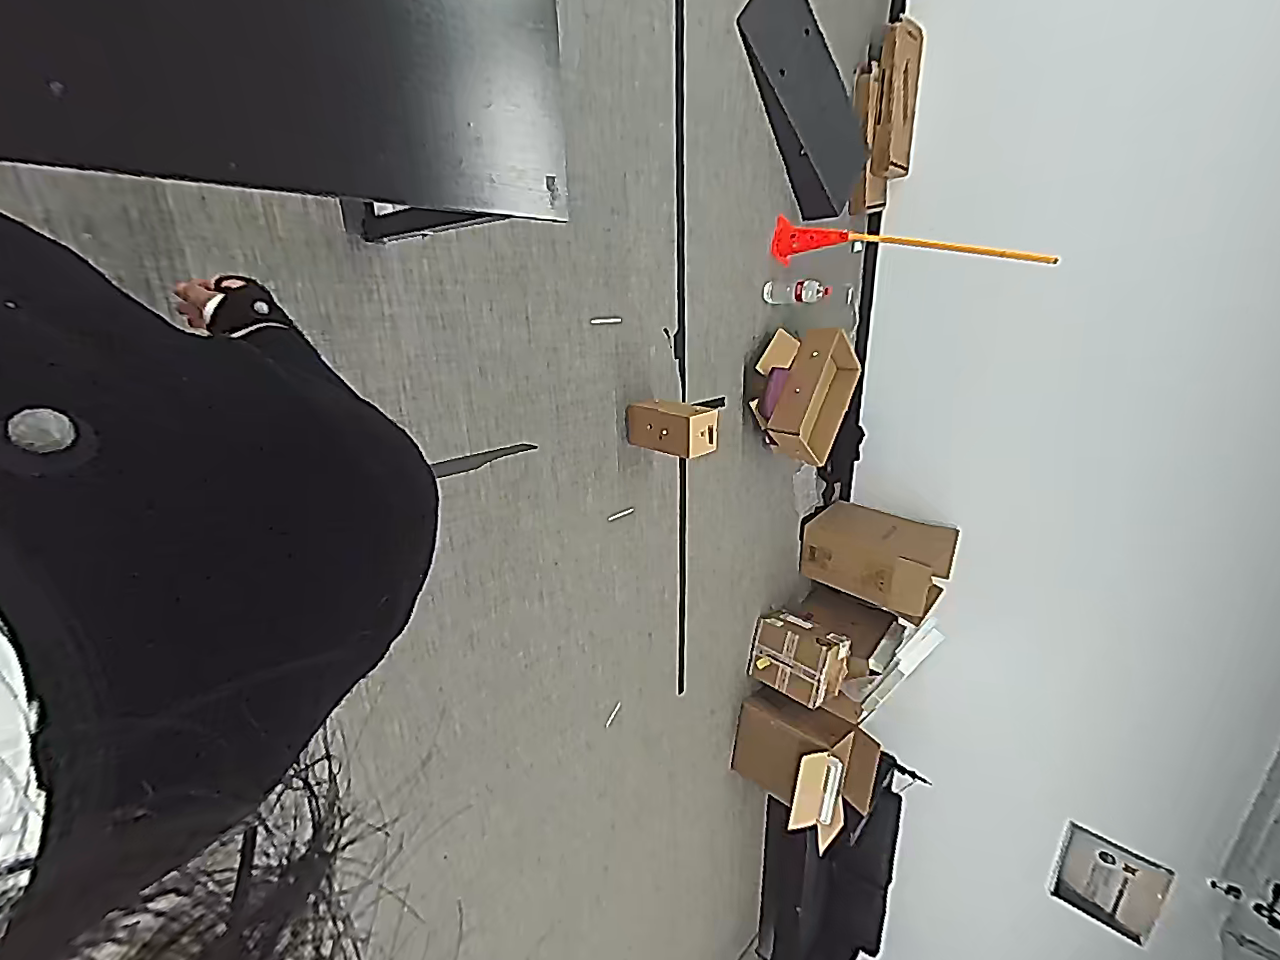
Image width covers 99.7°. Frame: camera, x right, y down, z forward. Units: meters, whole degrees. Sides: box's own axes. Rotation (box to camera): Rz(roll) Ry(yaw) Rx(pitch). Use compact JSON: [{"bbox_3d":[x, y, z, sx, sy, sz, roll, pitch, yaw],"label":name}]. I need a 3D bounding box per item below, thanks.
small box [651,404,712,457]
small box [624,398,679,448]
[{"bbox_3d":[0.163,-0.199,2.119,0.179,0.176,0.168,-20,116,-43],"label":"small box"},{"bbox_3d":[0.046,-0.238,2.229,0.168,0.176,0.179,-20,117,-43],"label":"small box"}]
